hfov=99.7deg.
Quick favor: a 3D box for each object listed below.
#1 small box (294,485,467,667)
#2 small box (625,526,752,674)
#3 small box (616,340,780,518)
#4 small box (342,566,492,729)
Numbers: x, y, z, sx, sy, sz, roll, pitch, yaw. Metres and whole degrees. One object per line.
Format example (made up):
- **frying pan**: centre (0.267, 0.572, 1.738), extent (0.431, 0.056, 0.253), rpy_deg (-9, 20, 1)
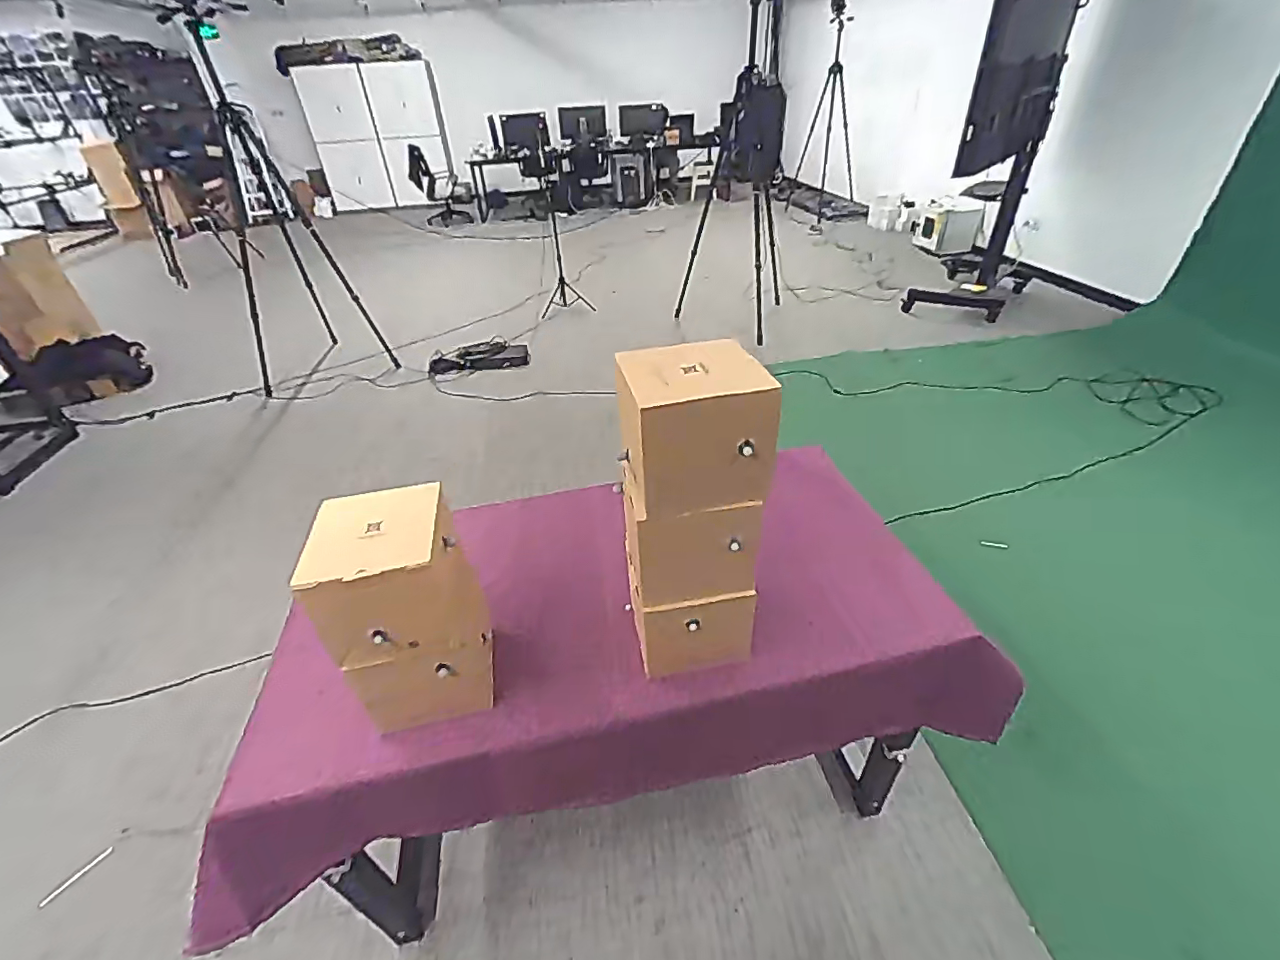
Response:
- **small box**: centre (-0.351, 0.133, 0.771), extent (0.168, 0.176, 0.179), rpy_deg (-10, 38, -8)
- **small box**: centre (0.078, 0.204, 0.912), extent (0.179, 0.176, 0.168), rpy_deg (-8, 37, -6)
- **small box**: centre (0.069, -0.070, 0.731), extent (0.179, 0.176, 0.168), rpy_deg (-10, 36, -8)
- **small box**: centre (-0.339, 0.266, 0.865), extent (0.179, 0.176, 0.168), rpy_deg (-10, 36, -8)
